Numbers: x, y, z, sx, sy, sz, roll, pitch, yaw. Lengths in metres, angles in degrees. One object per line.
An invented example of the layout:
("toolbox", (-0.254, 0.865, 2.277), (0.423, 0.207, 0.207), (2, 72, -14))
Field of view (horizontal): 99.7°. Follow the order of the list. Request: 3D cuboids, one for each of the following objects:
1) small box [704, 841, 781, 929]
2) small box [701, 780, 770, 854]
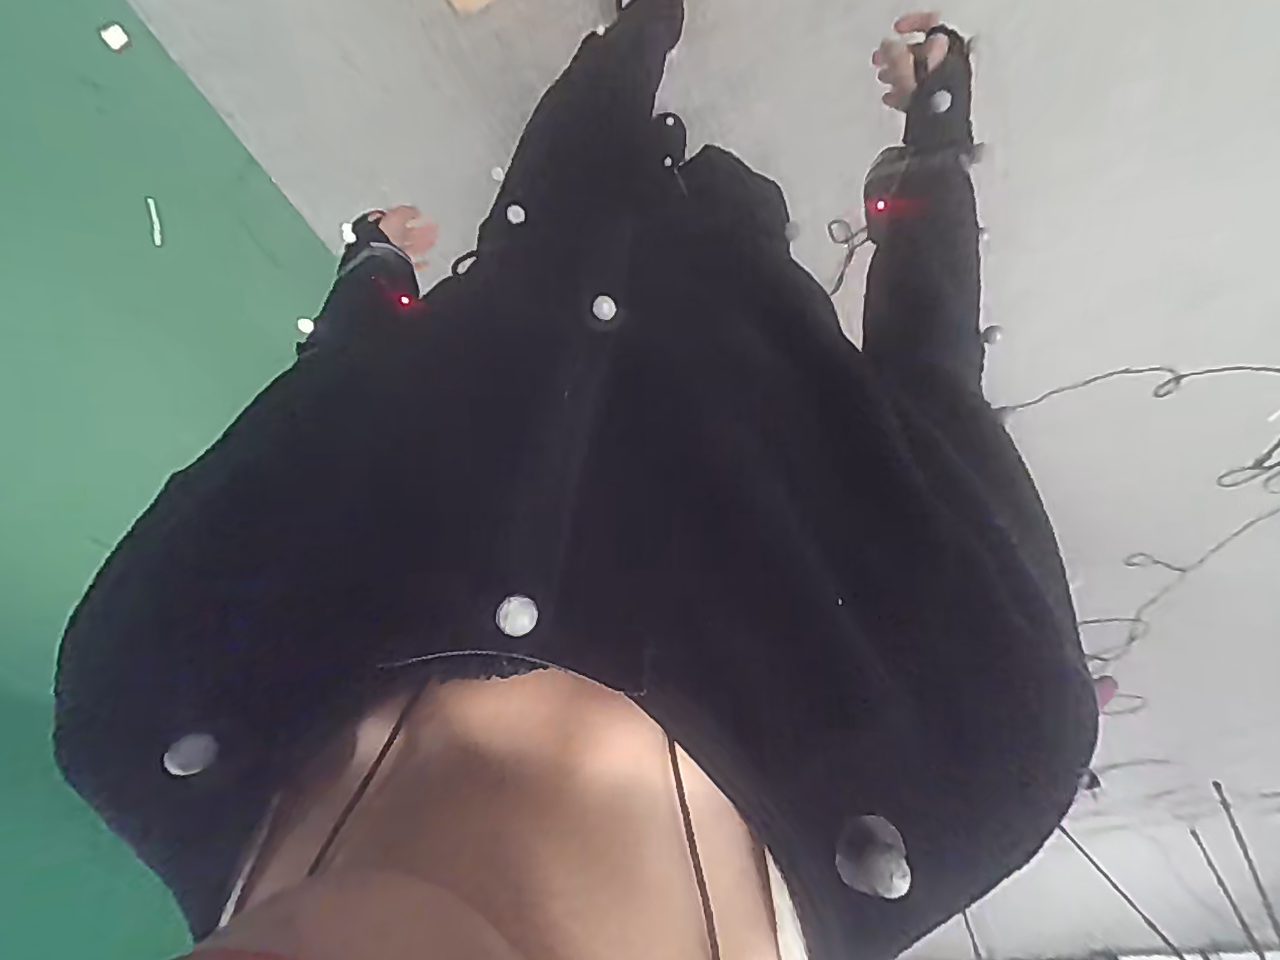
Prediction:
("small box", (0.283, 1.128, 1.513), (0.168, 0.176, 0.179), (-16, 129, 14))
("small box", (0.289, 1.032, 1.648), (0.168, 0.176, 0.179), (-14, 130, 12))
